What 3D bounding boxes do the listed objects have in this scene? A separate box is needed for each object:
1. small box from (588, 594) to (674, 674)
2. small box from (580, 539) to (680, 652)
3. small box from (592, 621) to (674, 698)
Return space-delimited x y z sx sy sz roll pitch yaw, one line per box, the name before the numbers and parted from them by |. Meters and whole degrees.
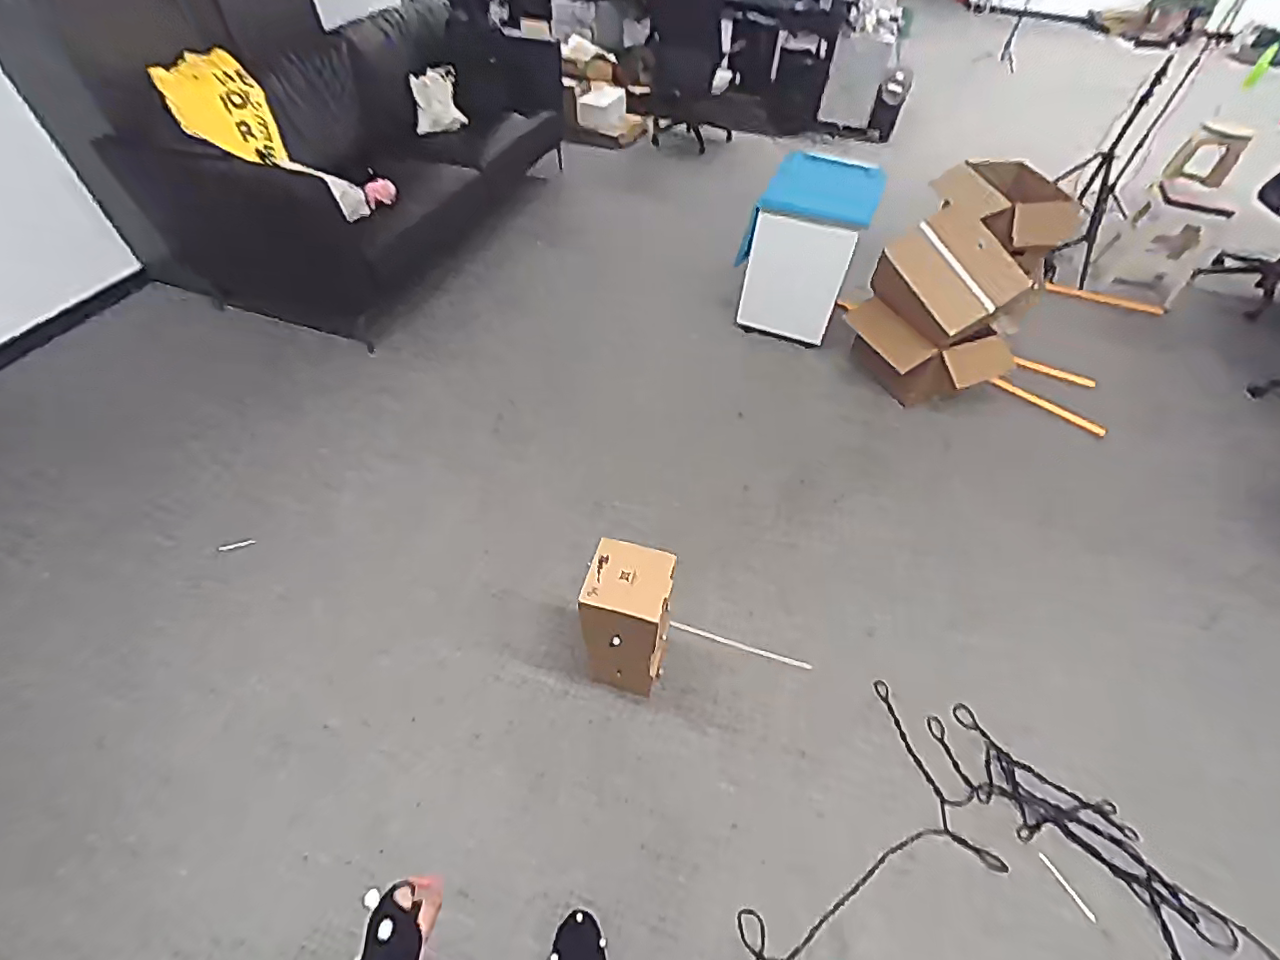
small box | -0.024 0.355 1.335 0.179 0.176 0.168 15 52 11
small box | -0.021 0.262 1.200 0.179 0.176 0.168 13 51 9
small box | -0.018 0.464 1.459 0.179 0.176 0.168 15 51 10
